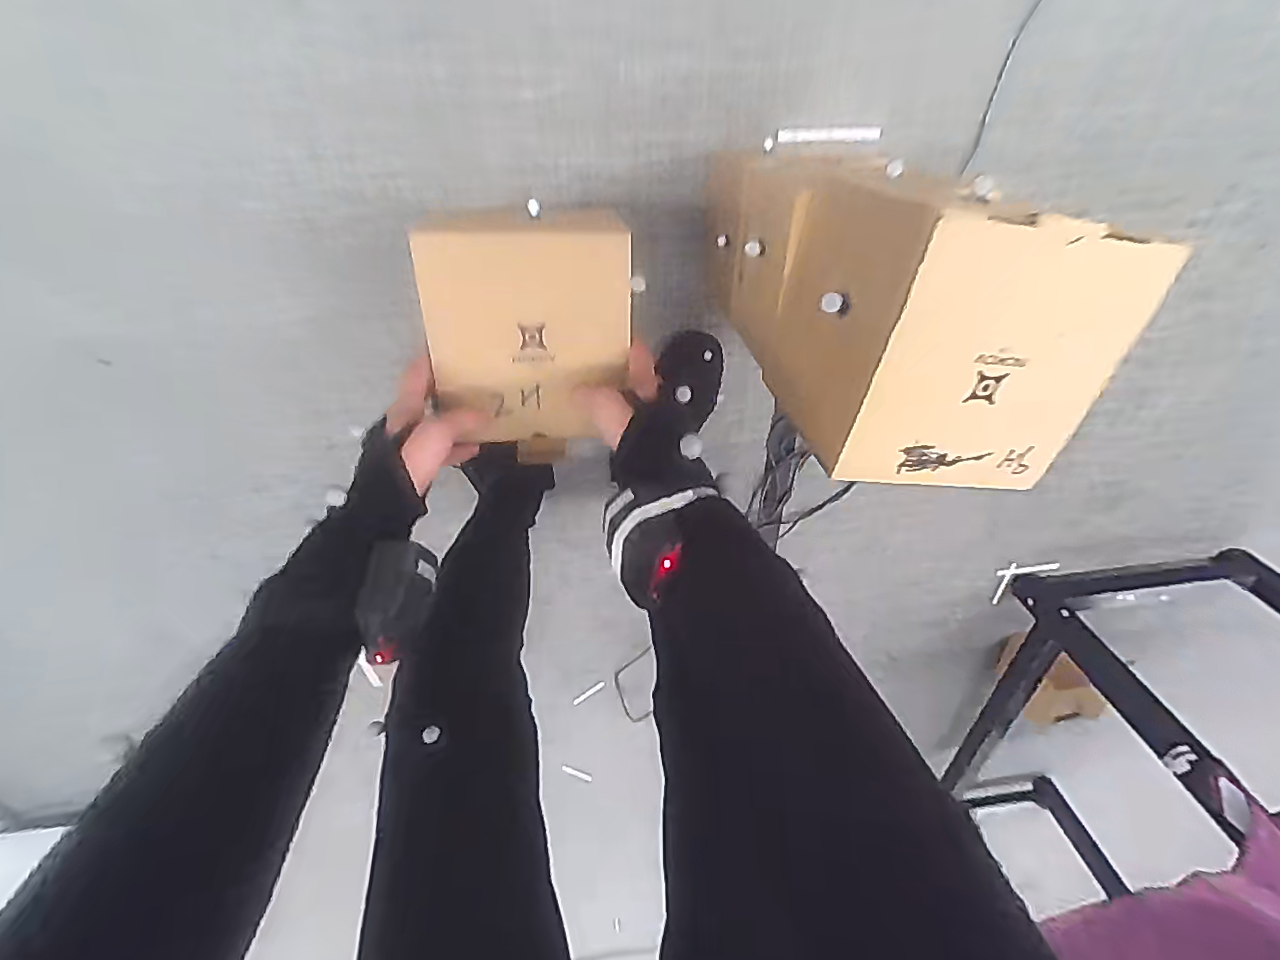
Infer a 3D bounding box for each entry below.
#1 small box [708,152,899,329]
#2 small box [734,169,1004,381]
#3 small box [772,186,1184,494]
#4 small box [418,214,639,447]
[{"bbox_3d":[0.185,-0.303,0.673,0.168,0.176,0.179,-4,126,-4],"label":"small box"},{"bbox_3d":[0.202,-0.208,0.543,0.179,0.176,0.168,-3,126,-5],"label":"small box"},{"bbox_3d":[0.217,-0.111,0.411,0.168,0.176,0.179,4,124,-9],"label":"small box"},{"bbox_3d":[-0.095,-0.148,0.511,0.168,0.176,0.179,-2,122,-7],"label":"small box"}]
